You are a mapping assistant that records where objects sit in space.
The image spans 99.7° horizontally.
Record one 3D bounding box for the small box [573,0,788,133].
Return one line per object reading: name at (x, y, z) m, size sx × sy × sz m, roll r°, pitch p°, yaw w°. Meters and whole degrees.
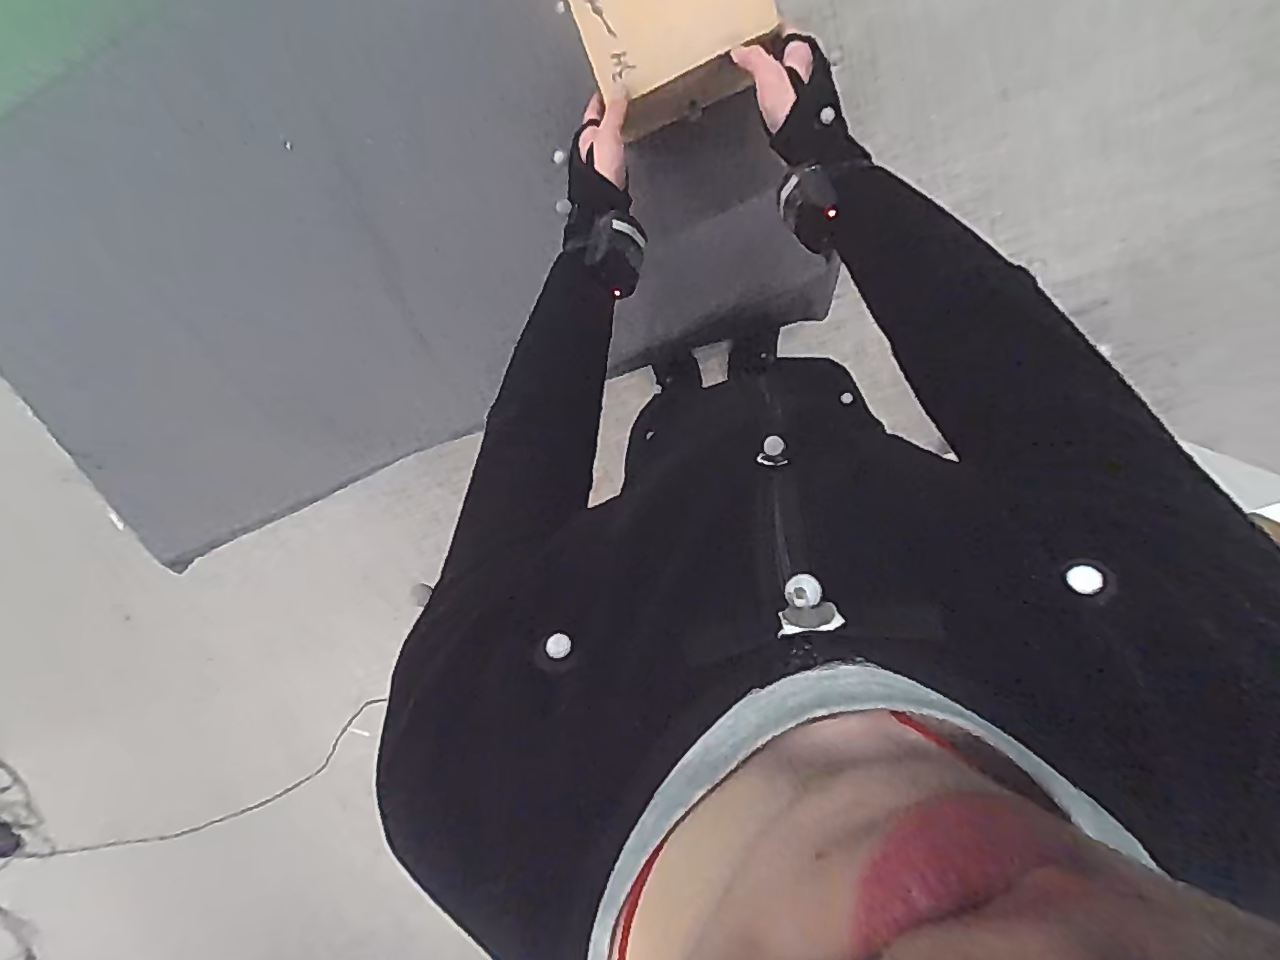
small box at (0.027, -0.483, 0.541) m, size 0.179 × 0.176 × 0.168 m, roll -19°, pitch 110°, yaw 10°
